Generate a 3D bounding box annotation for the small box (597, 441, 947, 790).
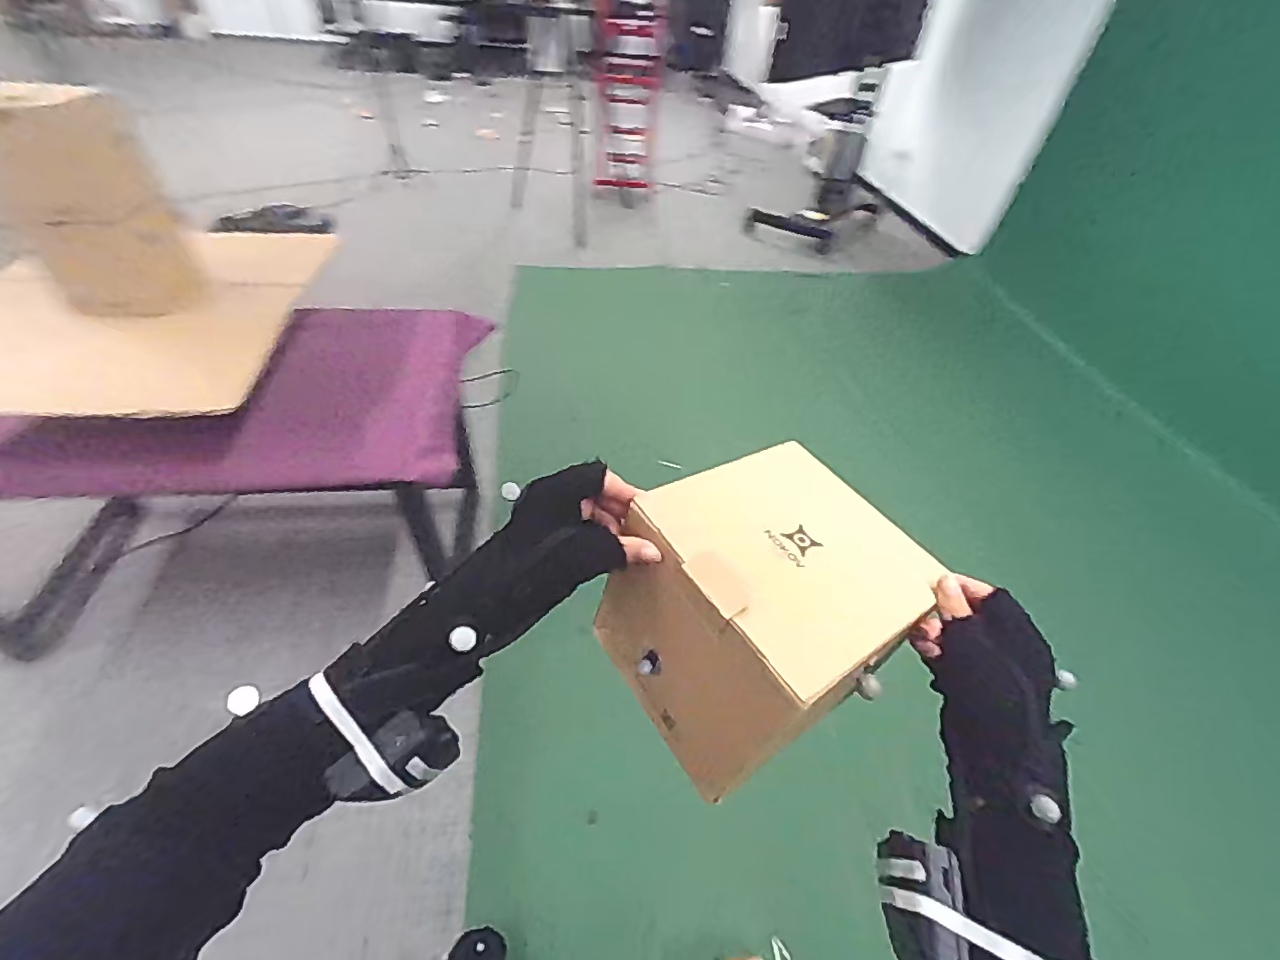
[{"bbox_3d":[0.087,0.099,0.426,0.179,0.176,0.168,-20,53,-33],"label":"small box"}]
